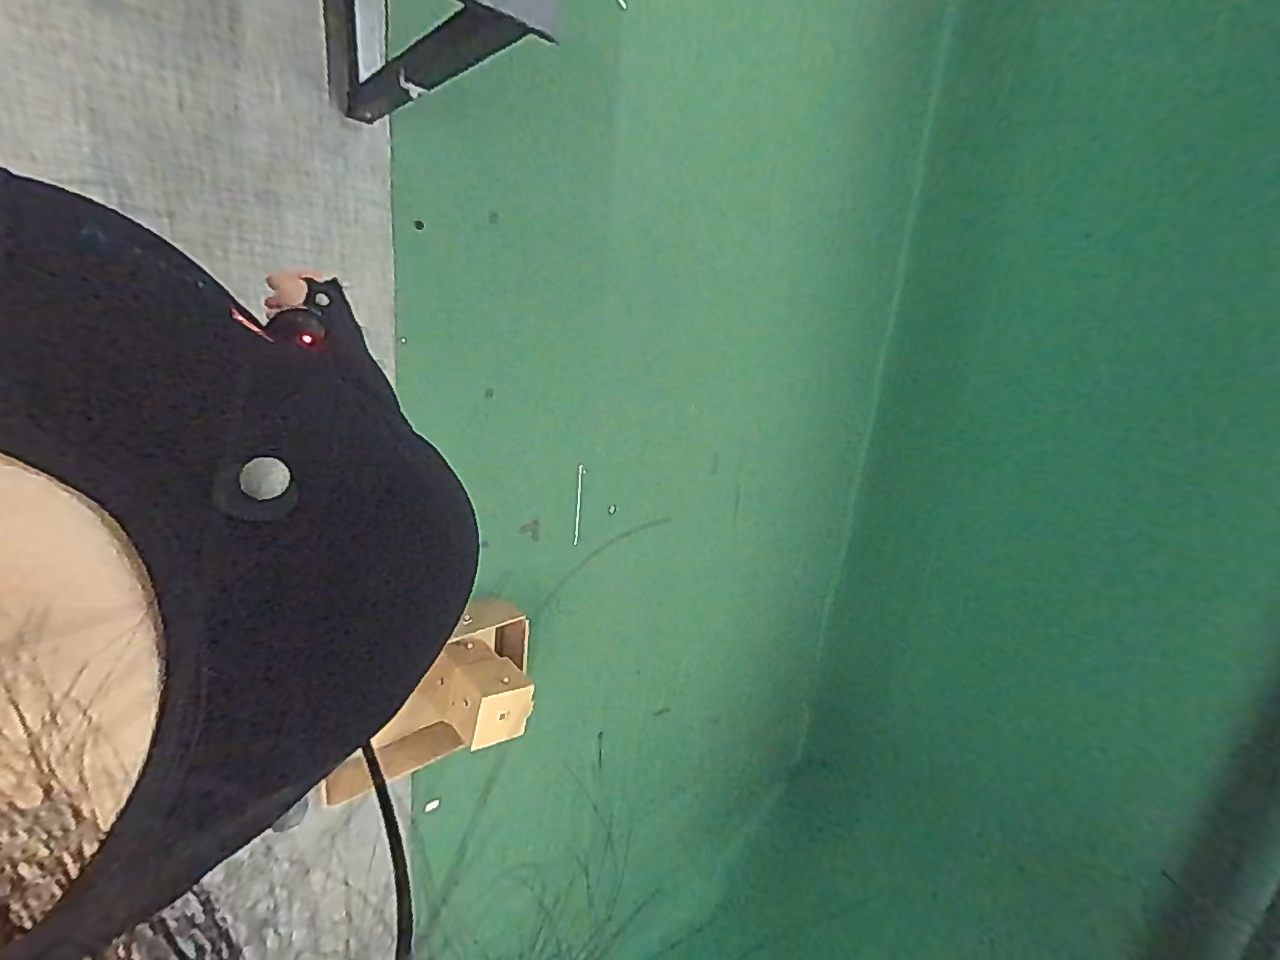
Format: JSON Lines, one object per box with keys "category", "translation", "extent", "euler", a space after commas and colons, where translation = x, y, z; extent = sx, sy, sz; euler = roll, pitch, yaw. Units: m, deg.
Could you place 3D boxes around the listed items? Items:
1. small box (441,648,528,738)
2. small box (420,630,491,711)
{"category": "small box", "translation": [-0.461, 0.619, 1.592], "extent": [0.179, 0.176, 0.168], "euler": [5, 103, -47]}
{"category": "small box", "translation": [-0.573, 0.594, 1.709], "extent": [0.168, 0.176, 0.179], "euler": [12, 97, -47]}
